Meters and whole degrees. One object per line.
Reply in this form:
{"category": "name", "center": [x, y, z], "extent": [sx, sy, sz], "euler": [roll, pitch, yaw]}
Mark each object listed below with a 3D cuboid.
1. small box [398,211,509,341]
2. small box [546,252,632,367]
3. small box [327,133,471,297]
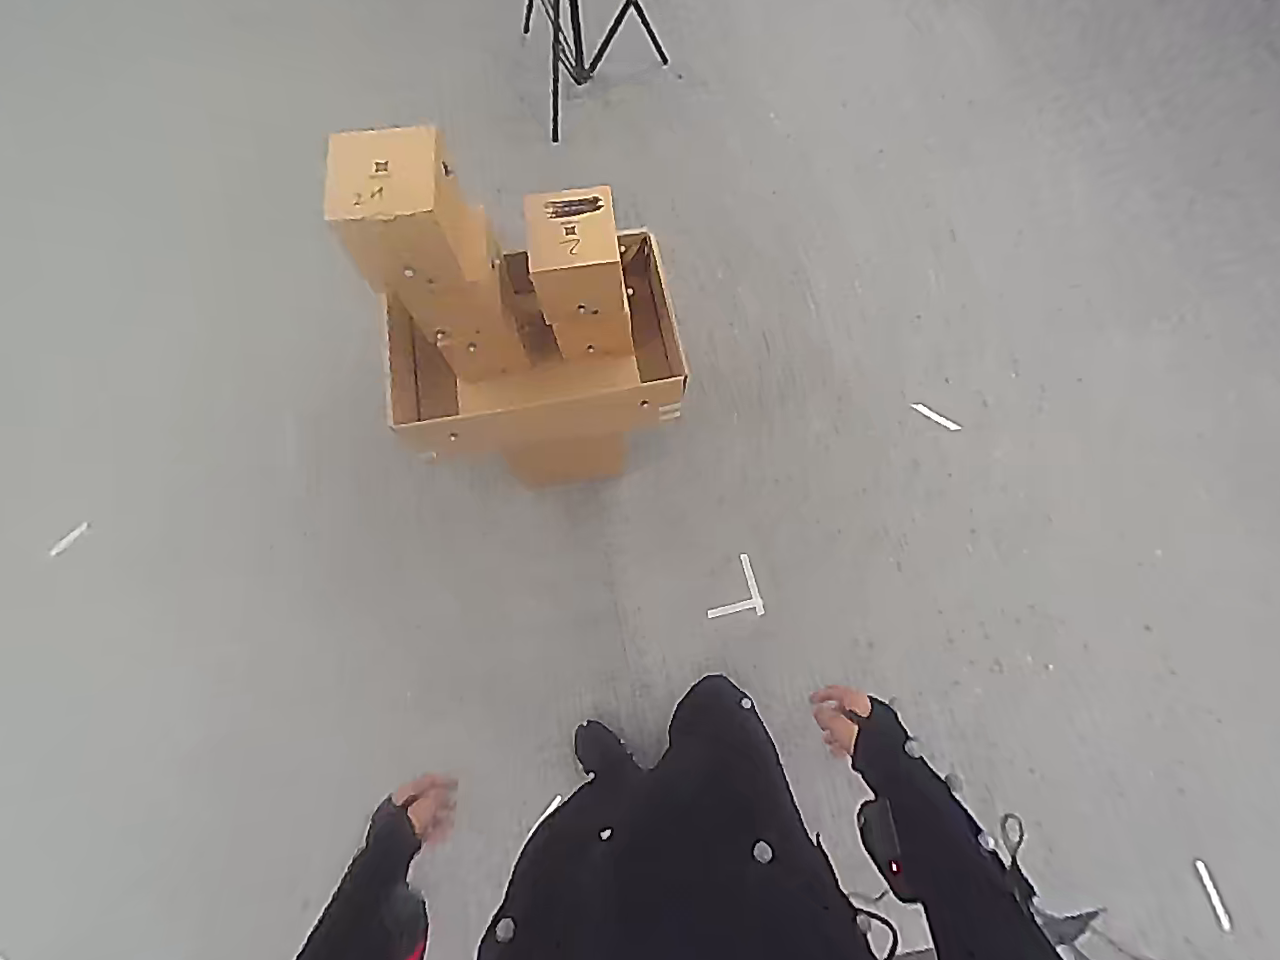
{"category": "small box", "center": [-0.357, -0.388, 1.056], "extent": [0.168, 0.176, 0.179], "euler": [-7, 72, -2]}
{"category": "small box", "center": [-0.112, -0.380, 1.225], "extent": [0.168, 0.176, 0.179], "euler": [-9, 73, -1]}
{"category": "small box", "center": [-0.387, -0.433, 0.898], "extent": [0.168, 0.176, 0.179], "euler": [-6, 73, -1]}
